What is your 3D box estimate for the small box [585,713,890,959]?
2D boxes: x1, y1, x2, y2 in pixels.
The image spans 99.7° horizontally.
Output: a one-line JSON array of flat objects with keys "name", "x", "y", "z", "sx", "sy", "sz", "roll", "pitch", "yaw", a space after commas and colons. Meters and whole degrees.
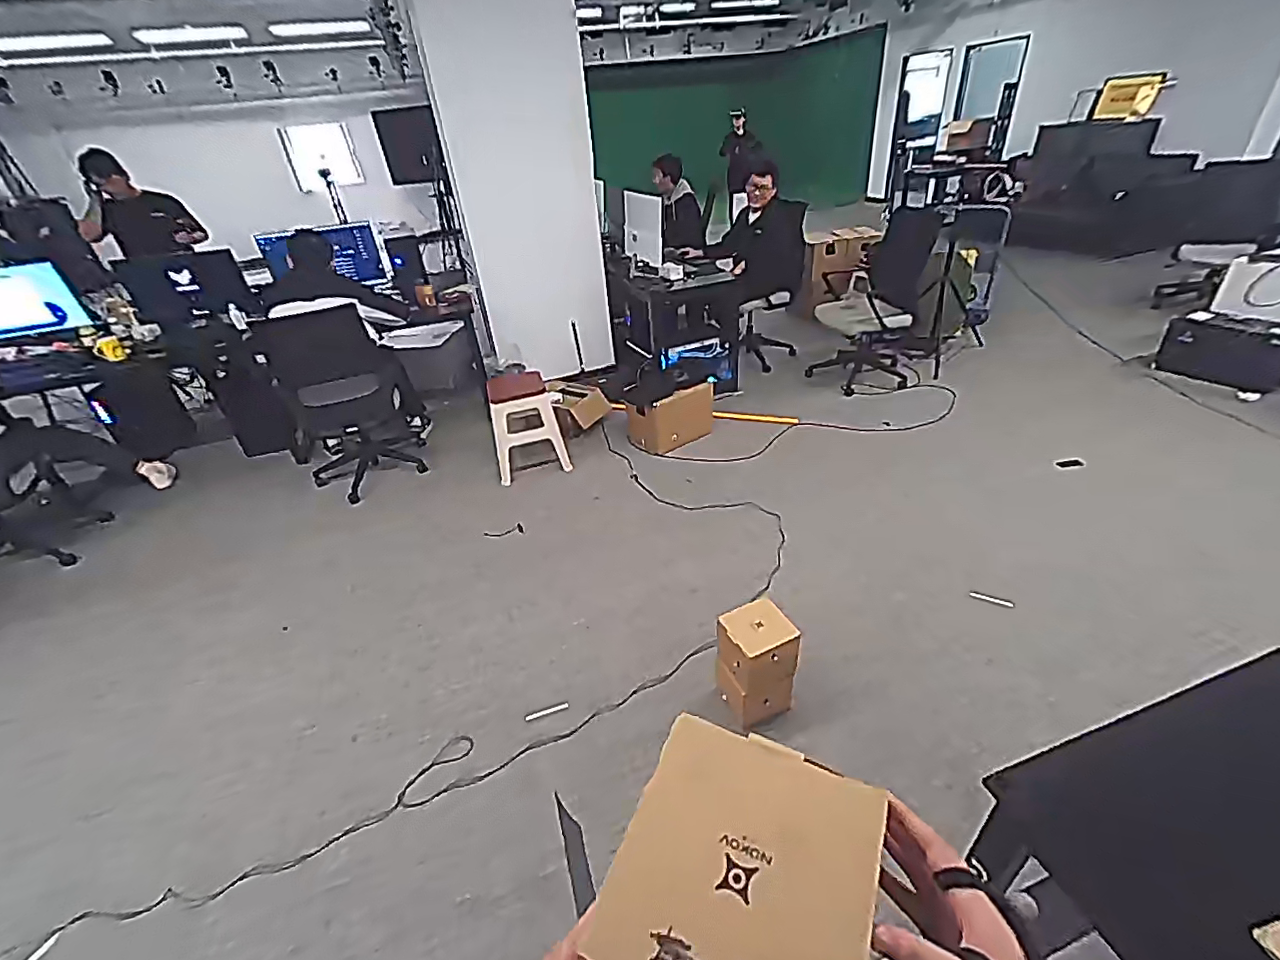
[{"name": "small box", "x": 0.081, "y": 0.325, "z": 0.412, "sx": 0.168, "sy": 0.176, "sz": 0.179, "roll": 10, "pitch": 38, "yaw": 26}]

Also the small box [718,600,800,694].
[{"name": "small box", "x": 0.344, "y": 0.489, "z": 1.577, "sx": 0.179, "sy": 0.176, "sz": 0.168, "roll": -17, "pitch": 35, "yaw": -19}]

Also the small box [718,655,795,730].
[{"name": "small box", "x": 0.353, "y": 0.627, "z": 1.662, "sx": 0.179, "sy": 0.176, "sz": 0.168, "roll": -17, "pitch": 34, "yaw": -15}]
